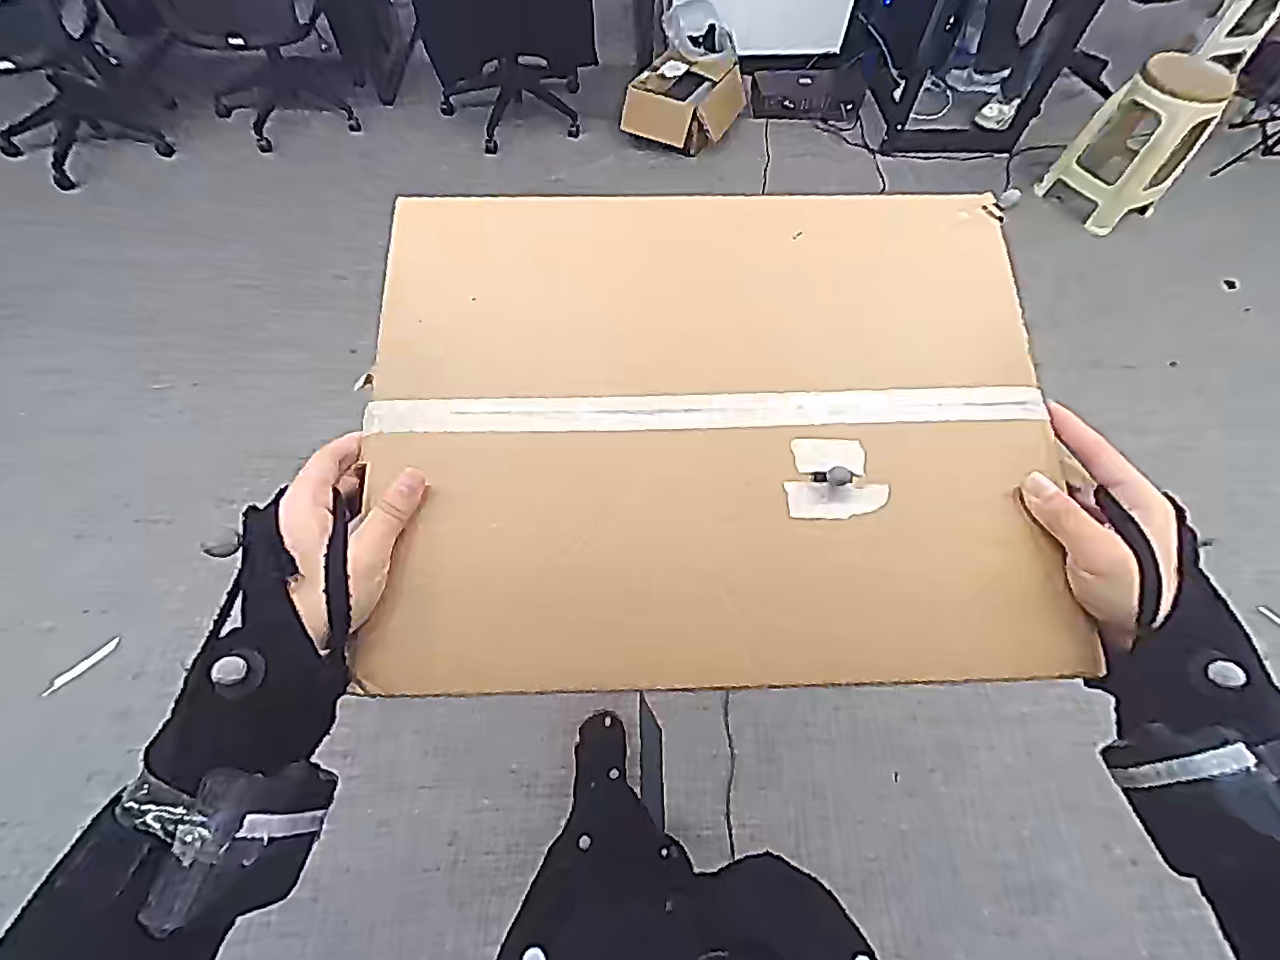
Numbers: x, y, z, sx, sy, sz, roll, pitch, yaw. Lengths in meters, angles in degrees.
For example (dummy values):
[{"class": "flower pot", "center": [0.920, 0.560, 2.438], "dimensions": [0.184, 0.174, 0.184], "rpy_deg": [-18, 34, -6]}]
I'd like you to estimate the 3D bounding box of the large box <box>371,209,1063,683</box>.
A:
[{"class": "large box", "center": [0.037, -0.003, 0.486], "dimensions": [0.408, 0.320, 0.320], "rpy_deg": [-1, 75, -2]}]
